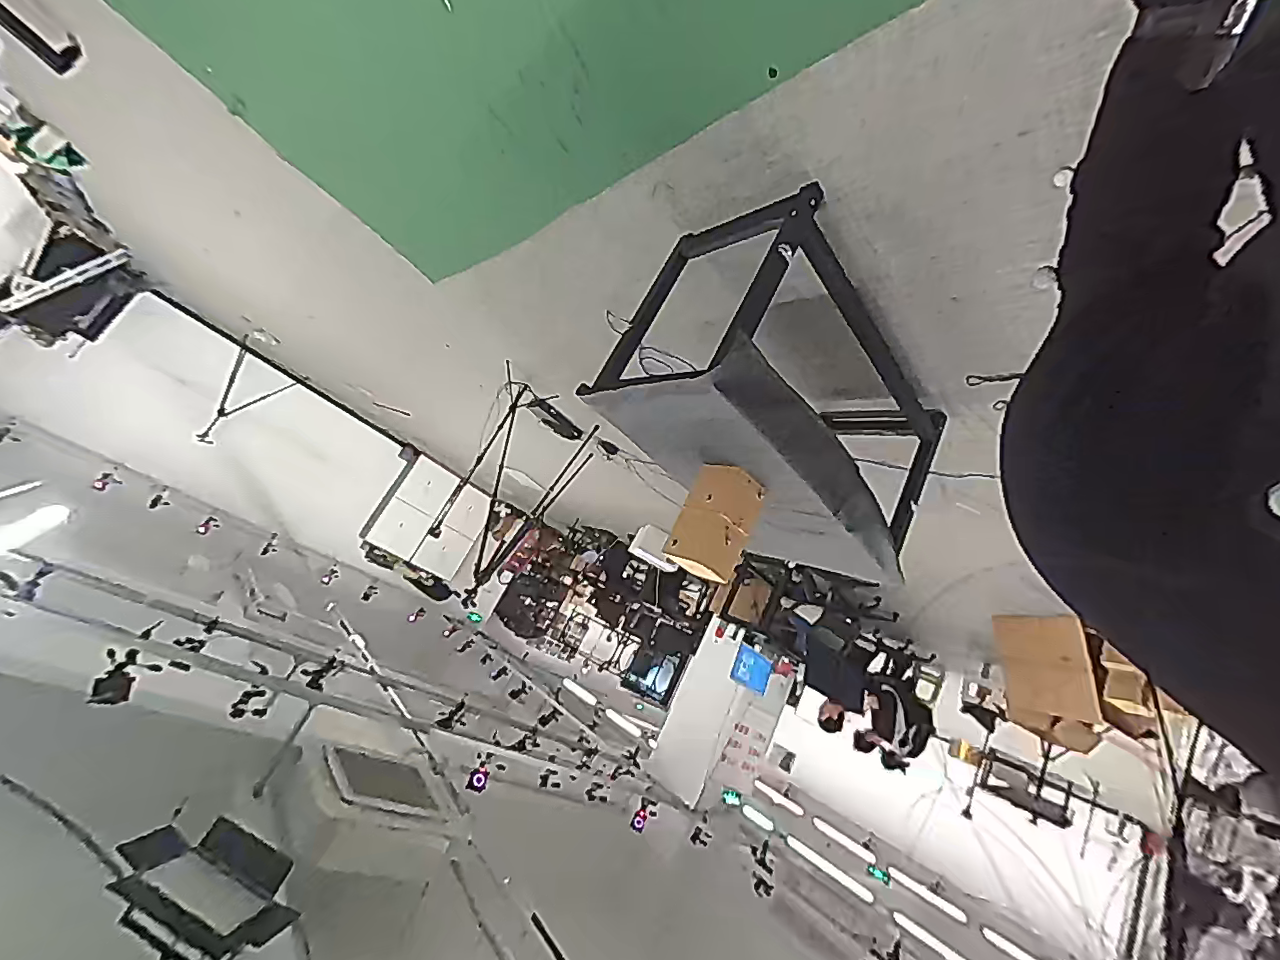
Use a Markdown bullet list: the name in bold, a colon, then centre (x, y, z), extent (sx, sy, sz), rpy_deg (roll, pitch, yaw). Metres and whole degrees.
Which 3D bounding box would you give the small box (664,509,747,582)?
- **small box**: centre (0.215, 0.206, 1.755), extent (0.168, 0.176, 0.179), rpy_deg (37, 161, -32)

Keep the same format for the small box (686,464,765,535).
- **small box**: centre (0.290, 0.061, 1.780), extent (0.168, 0.176, 0.179), rpy_deg (39, 162, -33)
